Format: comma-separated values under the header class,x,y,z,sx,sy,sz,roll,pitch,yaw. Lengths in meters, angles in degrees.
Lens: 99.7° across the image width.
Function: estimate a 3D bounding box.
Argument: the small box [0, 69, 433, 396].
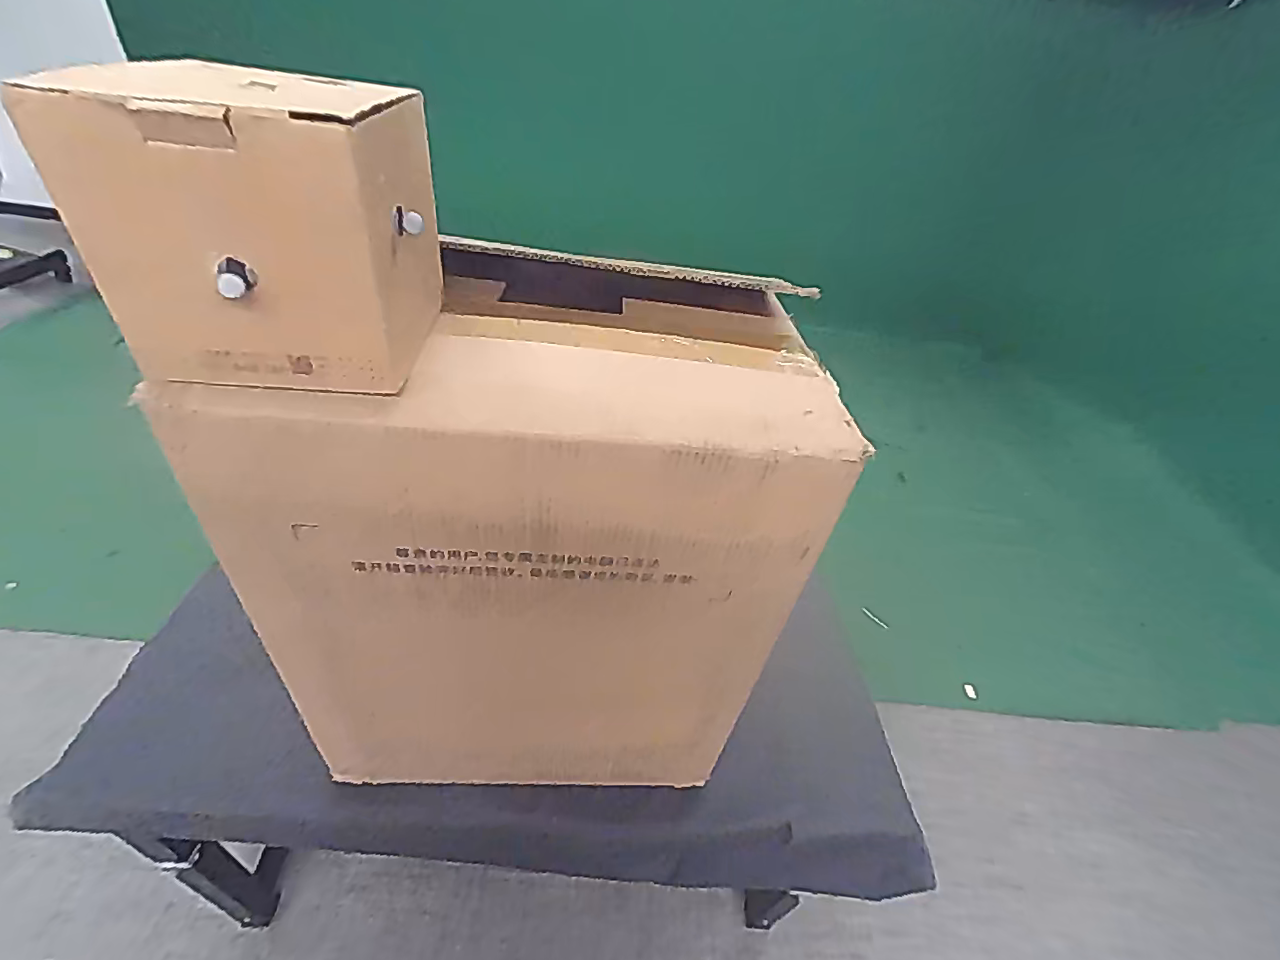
class,x,y,z,sx,sy,sz,roll,pitch,yaw
small box,-0.257,-0.174,0.388,0.168,0.176,0.179,2,41,-7
